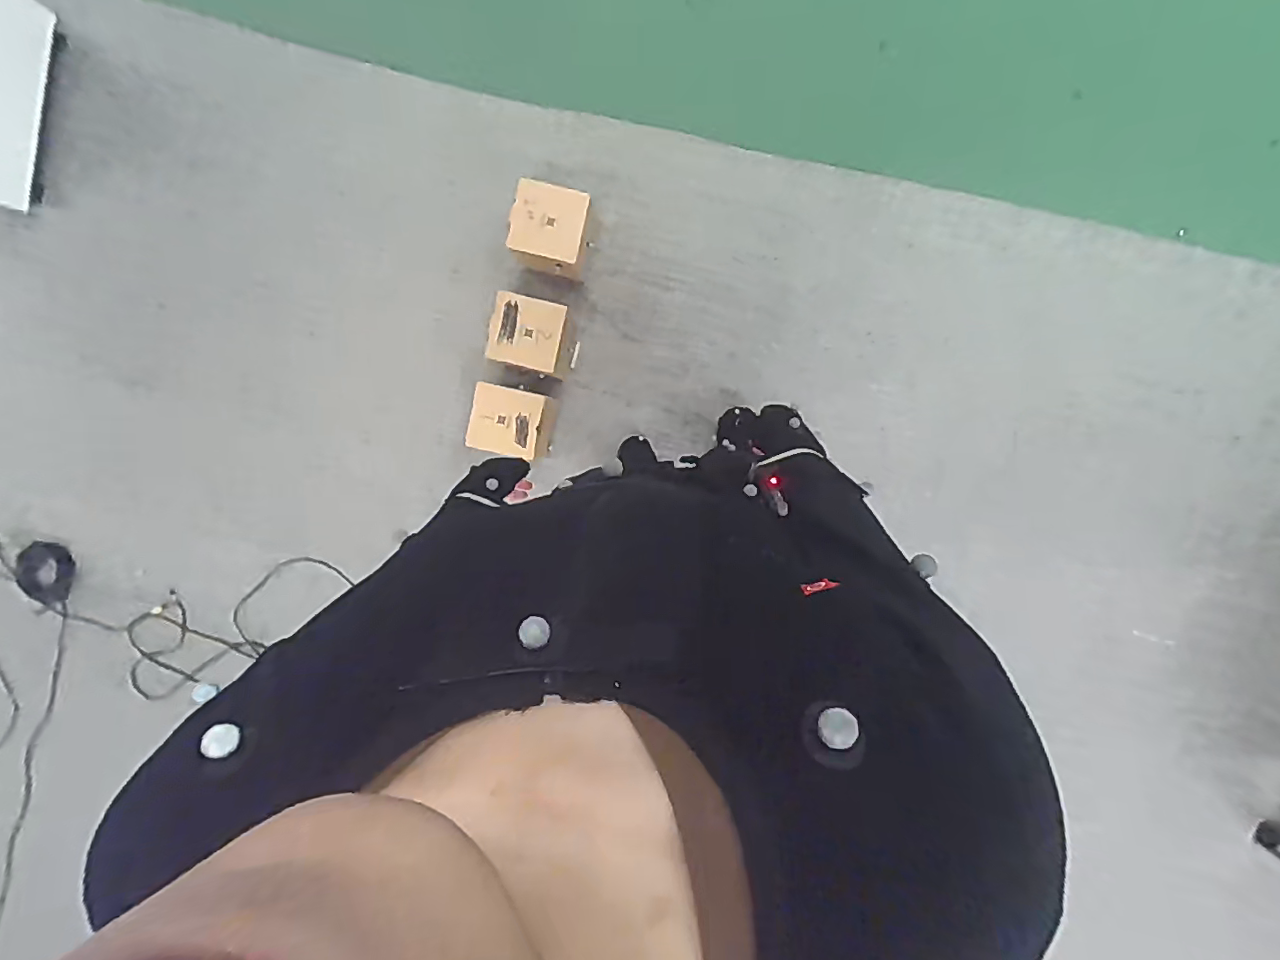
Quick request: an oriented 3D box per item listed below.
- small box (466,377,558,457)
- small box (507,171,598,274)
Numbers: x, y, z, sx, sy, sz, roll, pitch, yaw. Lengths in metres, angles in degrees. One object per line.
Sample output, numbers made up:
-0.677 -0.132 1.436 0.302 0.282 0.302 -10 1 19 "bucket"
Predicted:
-0.320 -0.162 1.392 0.179 0.176 0.168 13 97 3 "small box"
-0.209 -0.628 1.343 0.179 0.176 0.168 14 96 1 "small box"
